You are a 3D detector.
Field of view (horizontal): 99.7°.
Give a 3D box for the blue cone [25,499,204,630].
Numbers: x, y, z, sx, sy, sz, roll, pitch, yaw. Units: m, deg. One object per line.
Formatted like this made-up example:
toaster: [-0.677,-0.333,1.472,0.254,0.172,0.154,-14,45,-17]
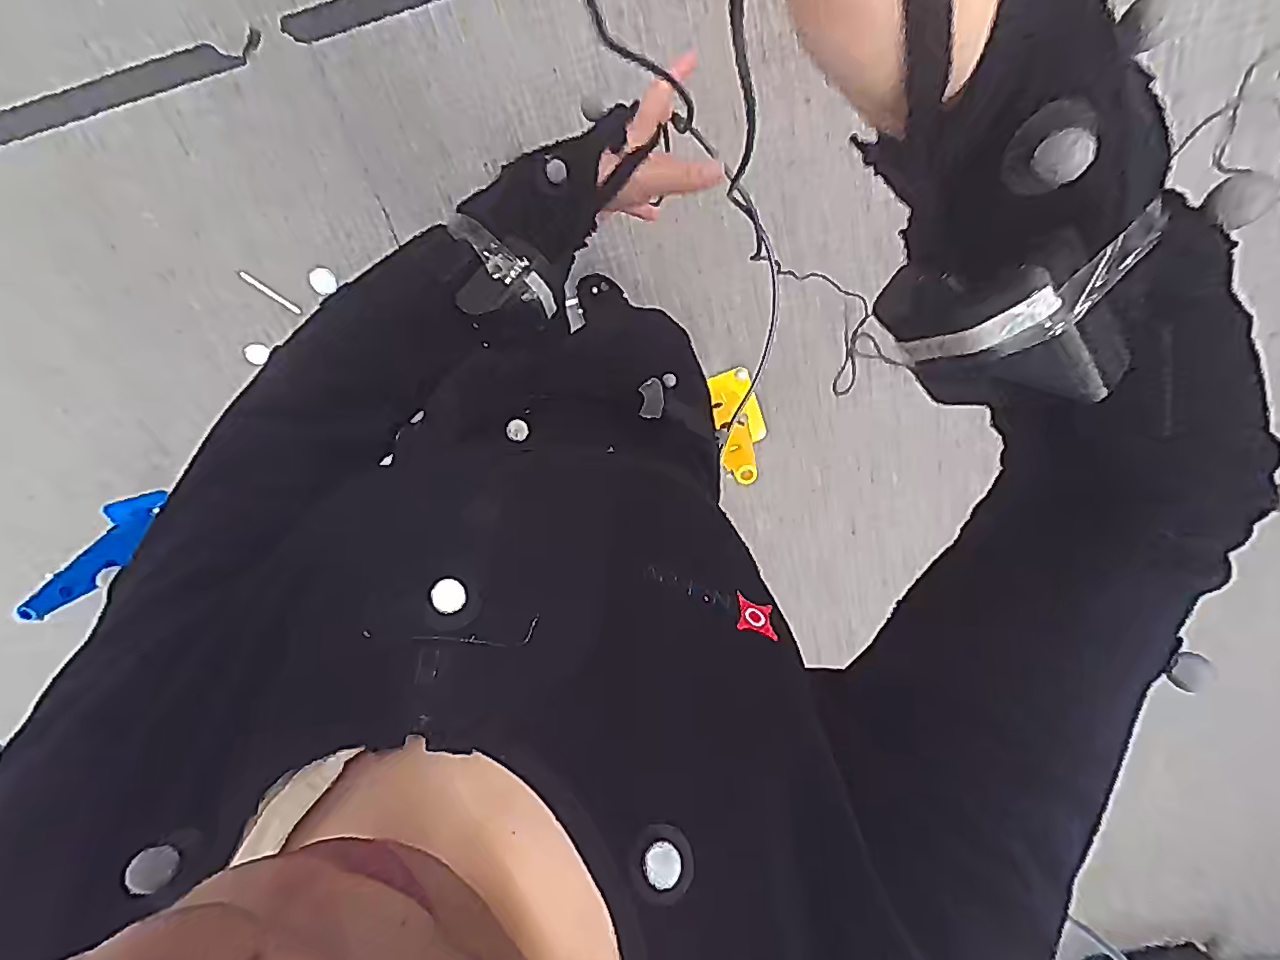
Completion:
blue cone: [-1.308,0.216,1.319,0.193,0.380,0.192,-13,116,6]
